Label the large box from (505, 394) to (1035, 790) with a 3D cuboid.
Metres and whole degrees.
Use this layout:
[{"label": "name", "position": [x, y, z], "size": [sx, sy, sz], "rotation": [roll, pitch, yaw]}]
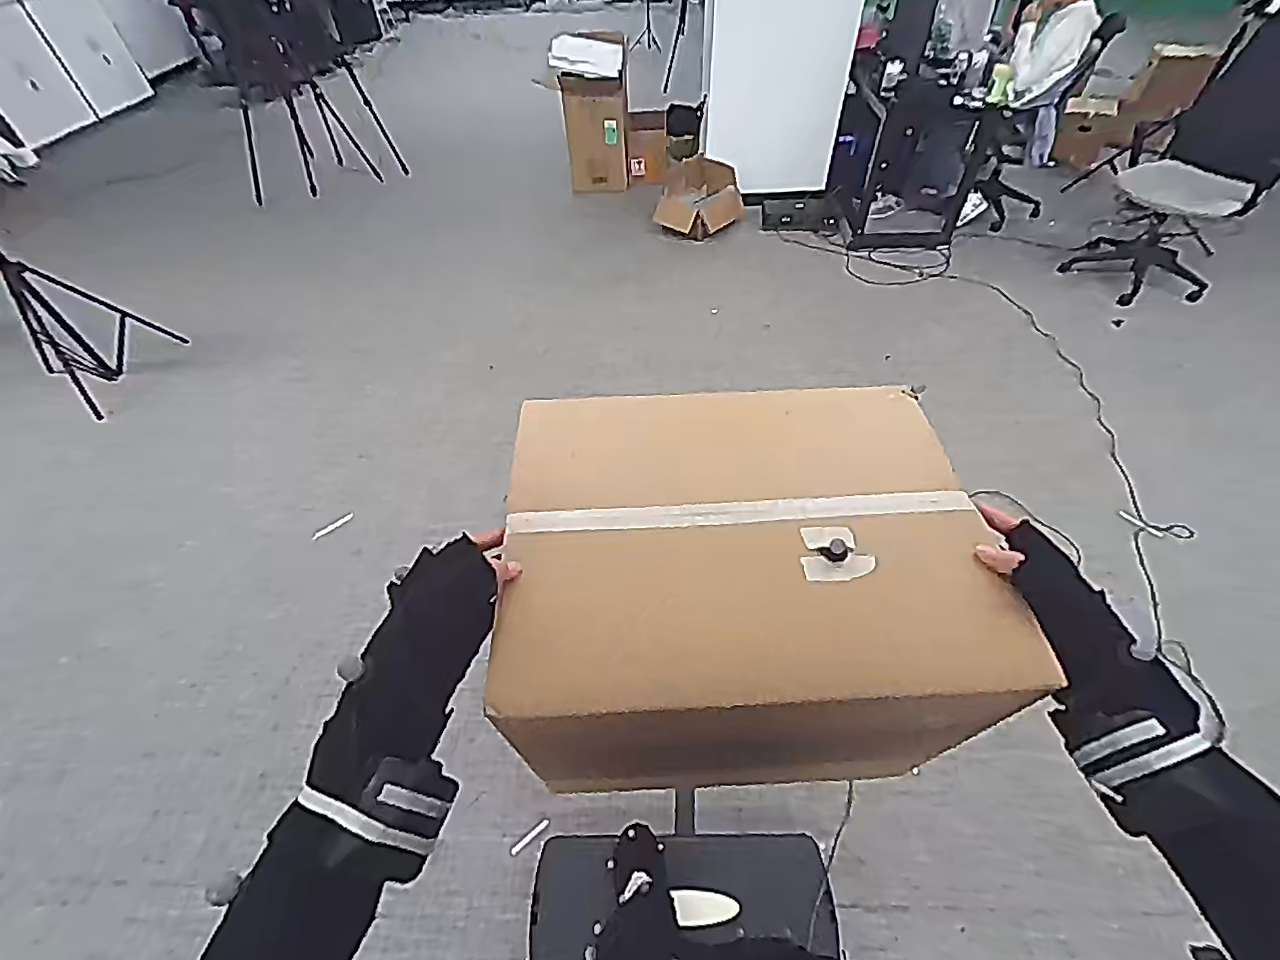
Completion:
[{"label": "large box", "position": [0.088, 0.130, 0.601], "size": [0.408, 0.320, 0.320], "rotation": [-3, 52, -2]}]
